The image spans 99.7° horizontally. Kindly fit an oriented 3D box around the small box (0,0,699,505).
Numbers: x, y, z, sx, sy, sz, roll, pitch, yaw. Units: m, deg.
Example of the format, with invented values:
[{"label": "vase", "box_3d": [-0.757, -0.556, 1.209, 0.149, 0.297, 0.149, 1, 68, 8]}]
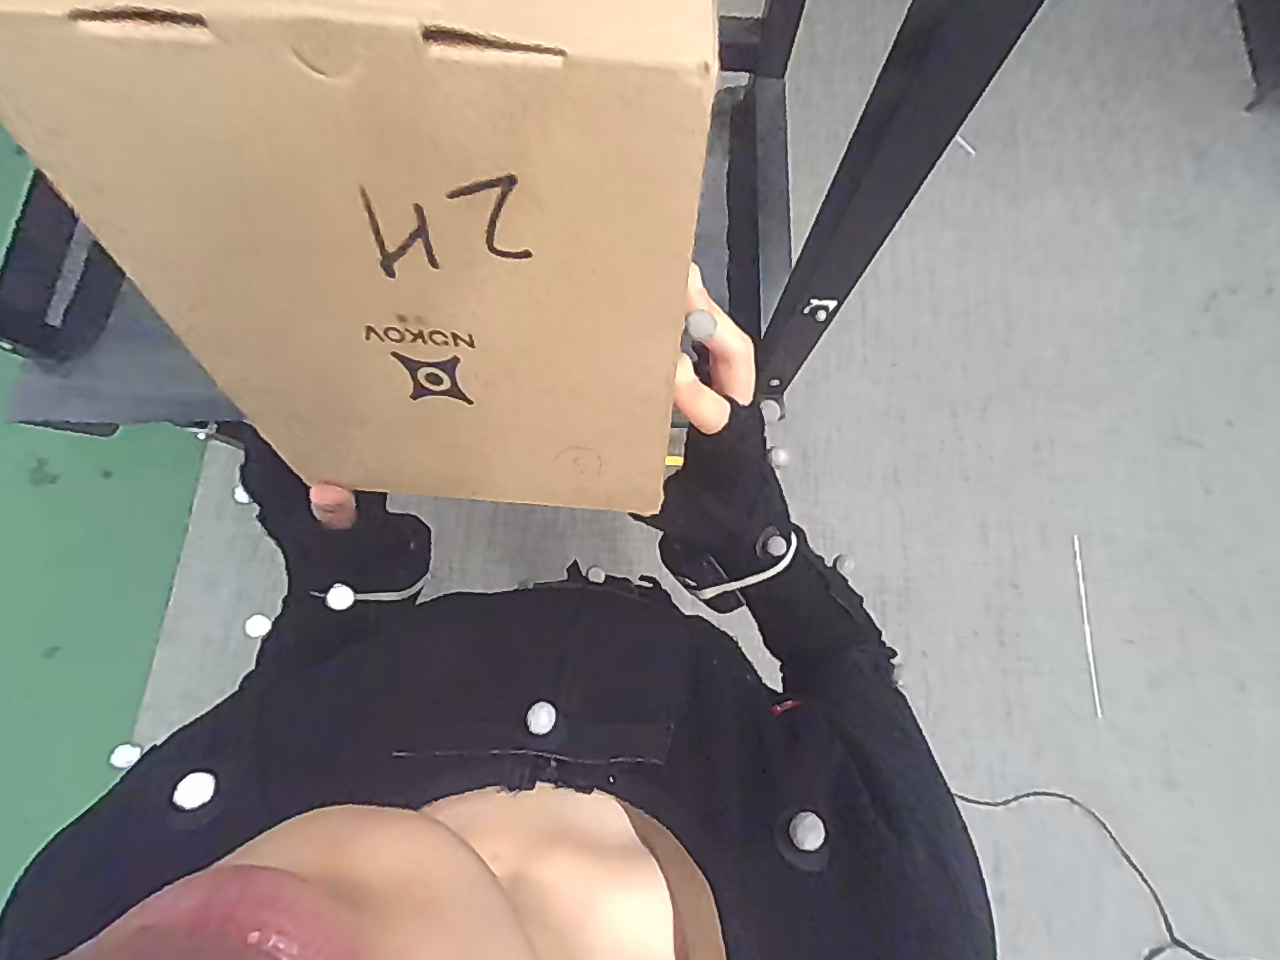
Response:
[{"label": "small box", "box_3d": [-0.067, -0.110, 0.229, 0.168, 0.179, 0.176, 4, 55, 0]}]
